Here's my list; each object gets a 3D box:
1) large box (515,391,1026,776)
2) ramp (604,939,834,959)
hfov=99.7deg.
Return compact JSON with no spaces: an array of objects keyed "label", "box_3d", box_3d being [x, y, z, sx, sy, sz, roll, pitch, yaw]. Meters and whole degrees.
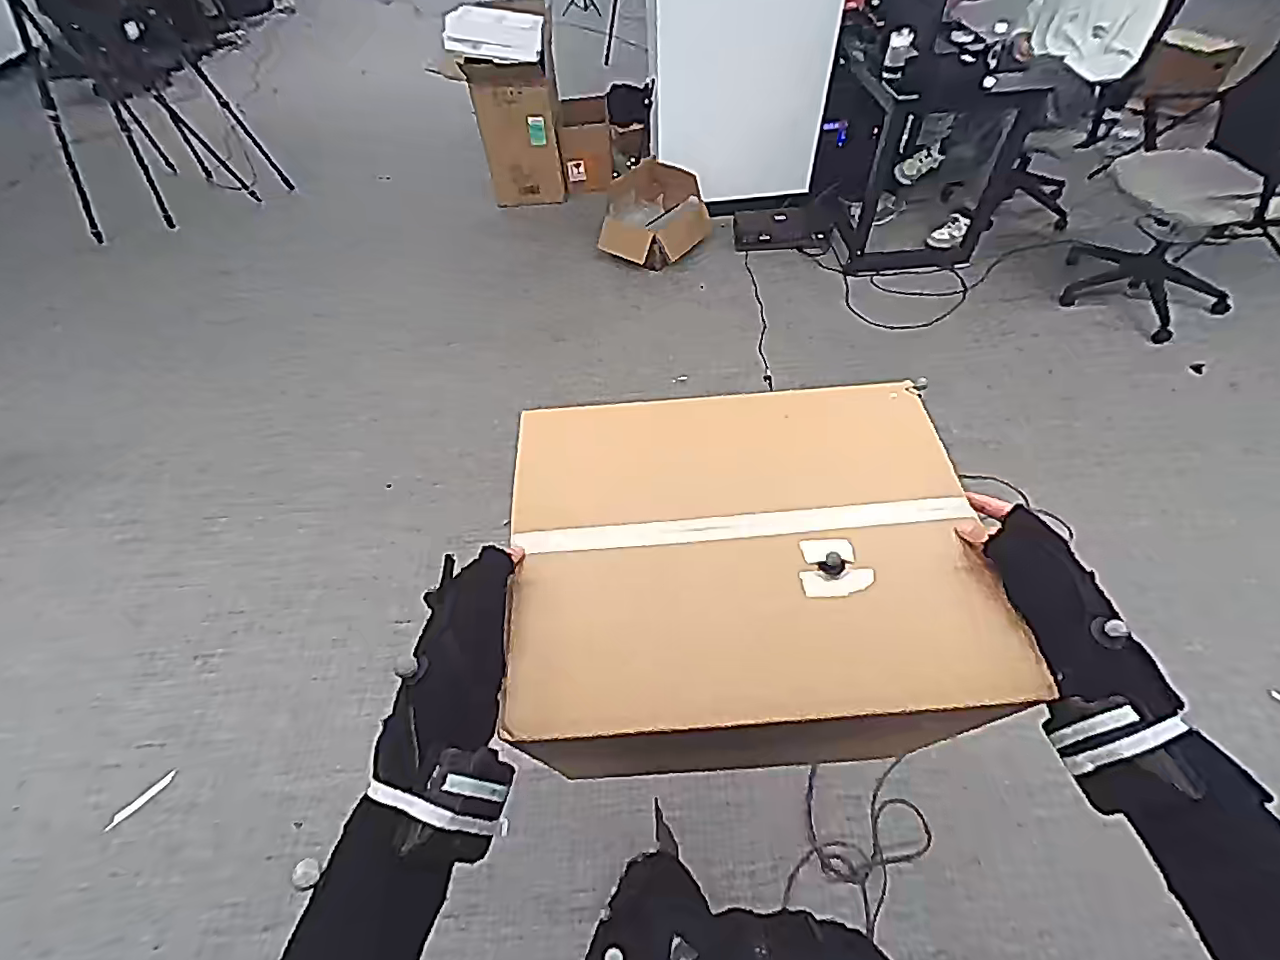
[{"label":"large box","box_3d":[0.094,0.130,0.616,0.408,0.320,0.320,-4,56,0]},{"label":"ramp","box_3d":[0.175,1.311,0.763,0.509,0.206,0.991,-6,51,0]}]
